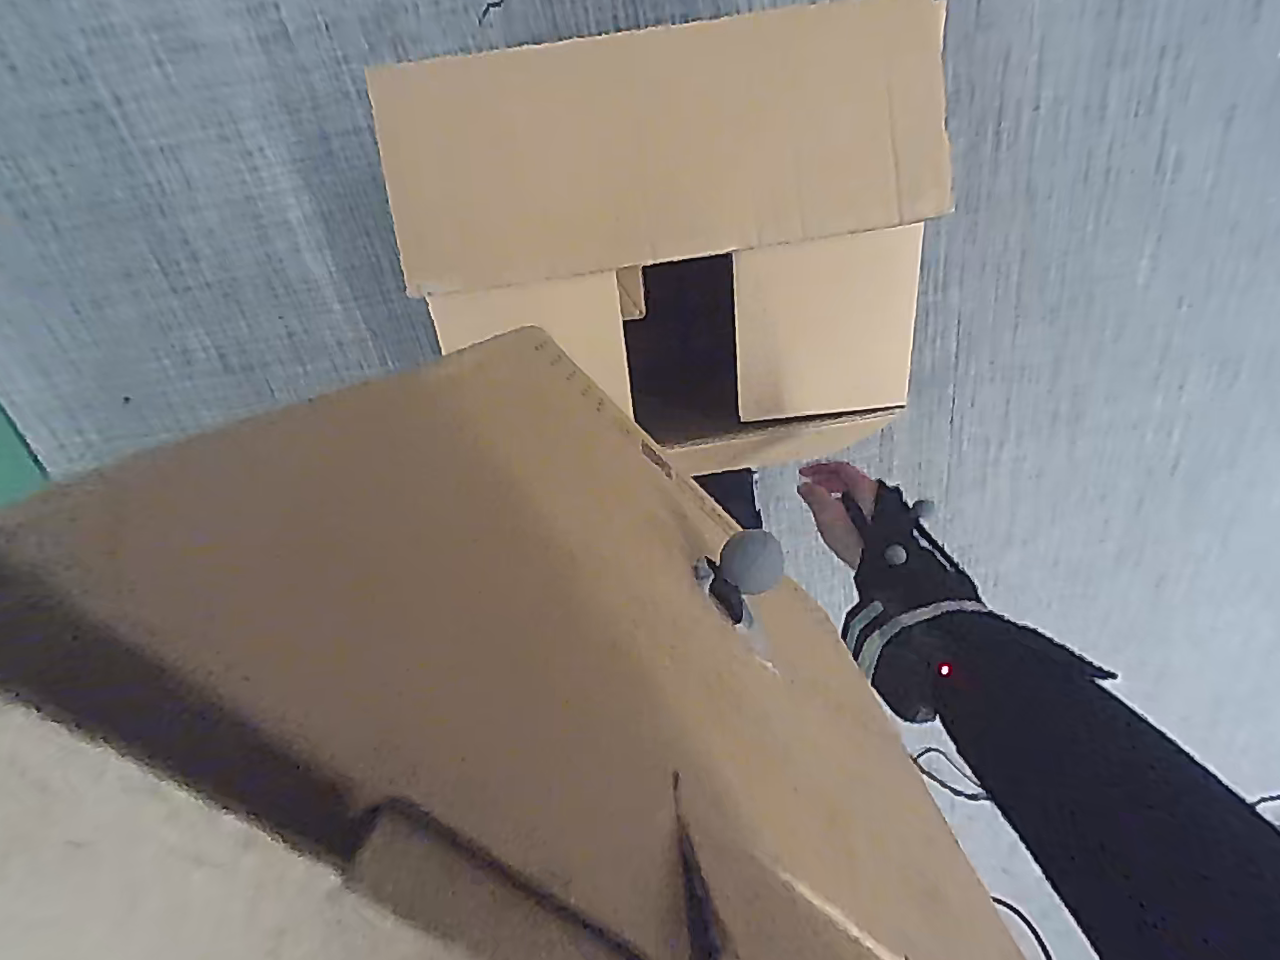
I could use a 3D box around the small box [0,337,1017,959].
[{"bbox_3d":[-0.043,0.082,0.144,0.179,0.176,0.168,-43,105,14],"label":"small box"}]
